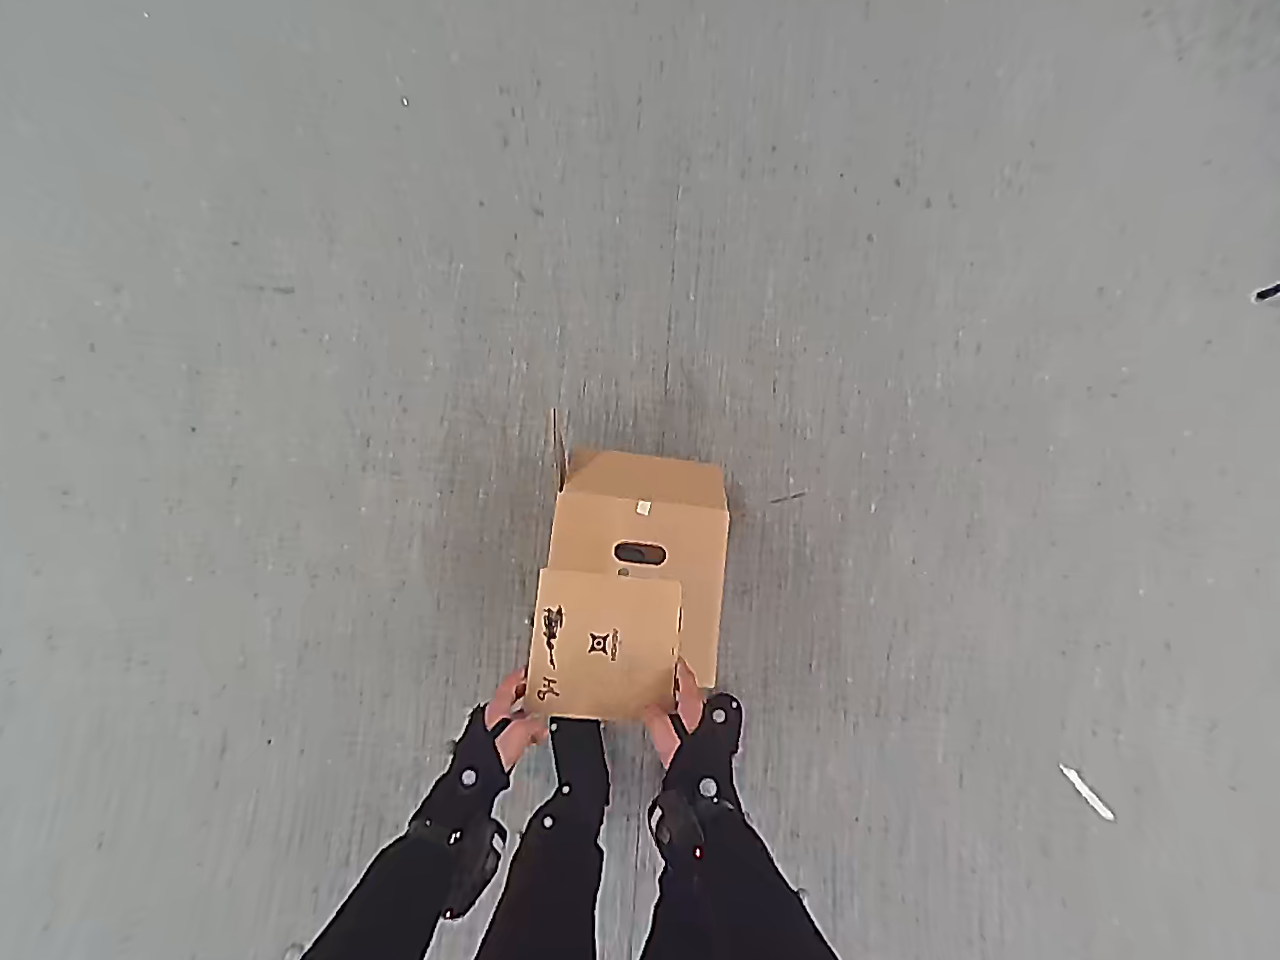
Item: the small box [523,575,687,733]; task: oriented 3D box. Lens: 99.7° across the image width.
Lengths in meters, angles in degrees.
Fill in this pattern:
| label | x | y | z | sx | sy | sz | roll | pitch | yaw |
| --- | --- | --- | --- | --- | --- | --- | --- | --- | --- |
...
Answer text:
| label | x | y | z | sx | sy | sz | roll | pitch | yaw |
| --- | --- | --- | --- | --- | --- | --- | --- | --- | --- |
| small box | -0.045 | 0.215 | 0.703 | 0.179 | 0.176 | 0.168 | 7 | 77 | -4 |
